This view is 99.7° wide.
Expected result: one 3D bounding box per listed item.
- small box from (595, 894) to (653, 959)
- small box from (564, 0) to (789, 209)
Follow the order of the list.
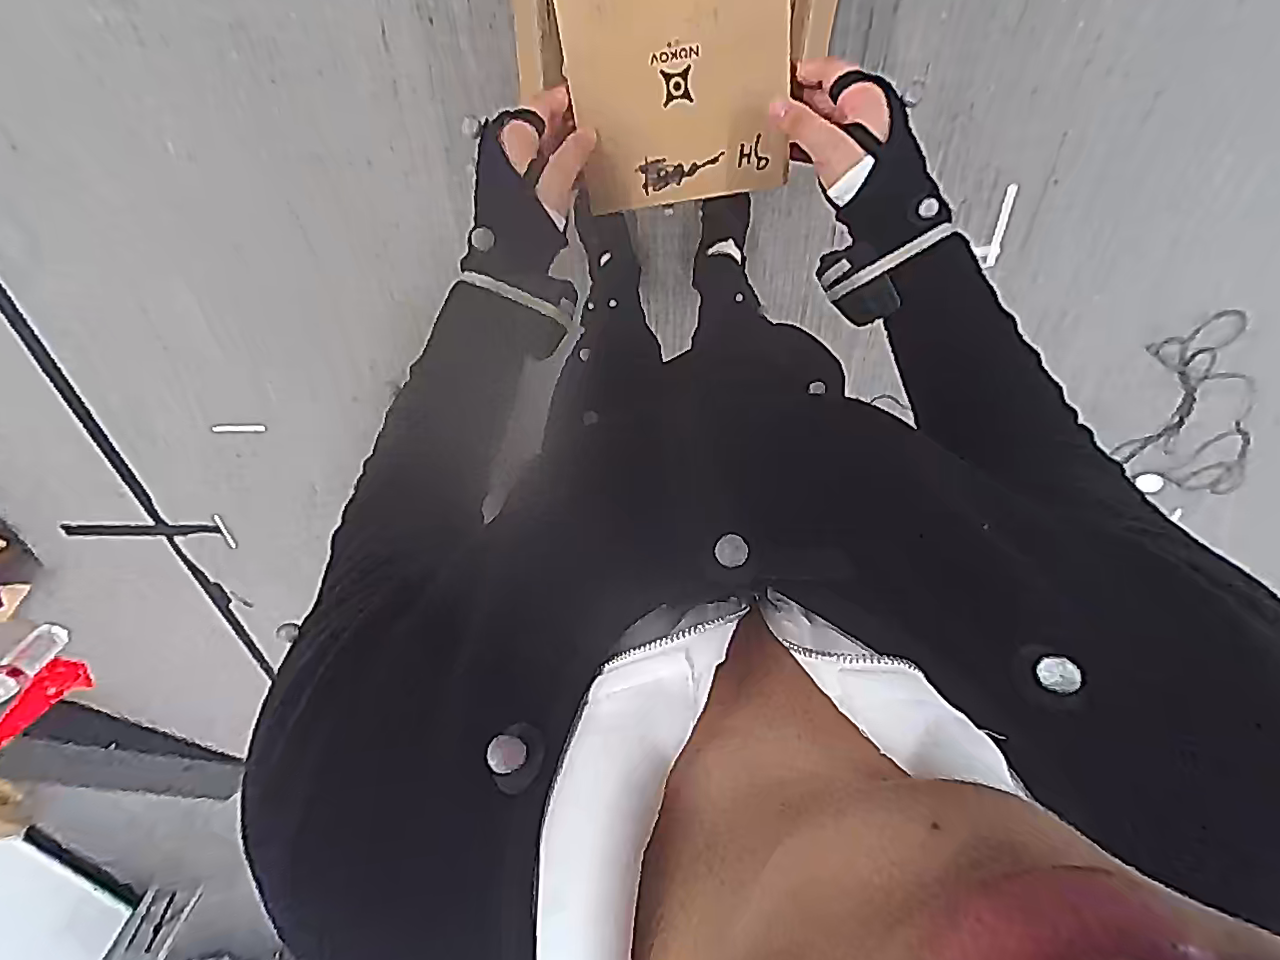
[{"bbox_3d":[-0.051,1.458,1.739,0.179,0.176,0.168,1,126,0],"label":"small box"},{"bbox_3d":[0.034,-0.360,0.483,0.168,0.176,0.179,-4,126,7],"label":"small box"}]
